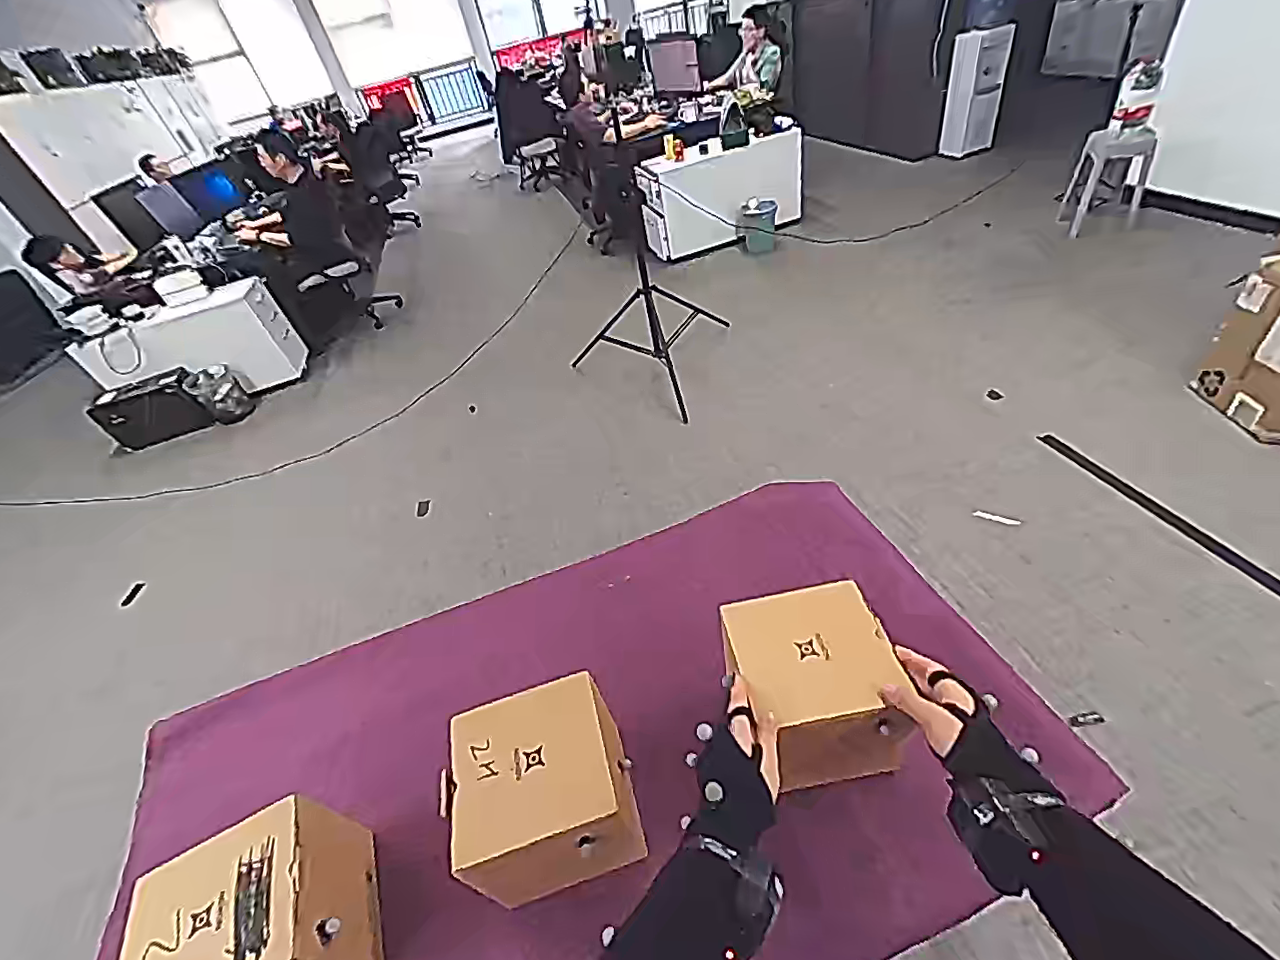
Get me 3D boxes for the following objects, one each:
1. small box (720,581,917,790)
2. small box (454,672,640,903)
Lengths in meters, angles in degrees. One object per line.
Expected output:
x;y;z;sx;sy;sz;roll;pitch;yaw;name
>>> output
0.208;0.255;0.669;0.179;0.176;0.168;-12;39;-1;small box
-0.106;0.368;0.648;0.179;0.176;0.168;-19;41;-4;small box
